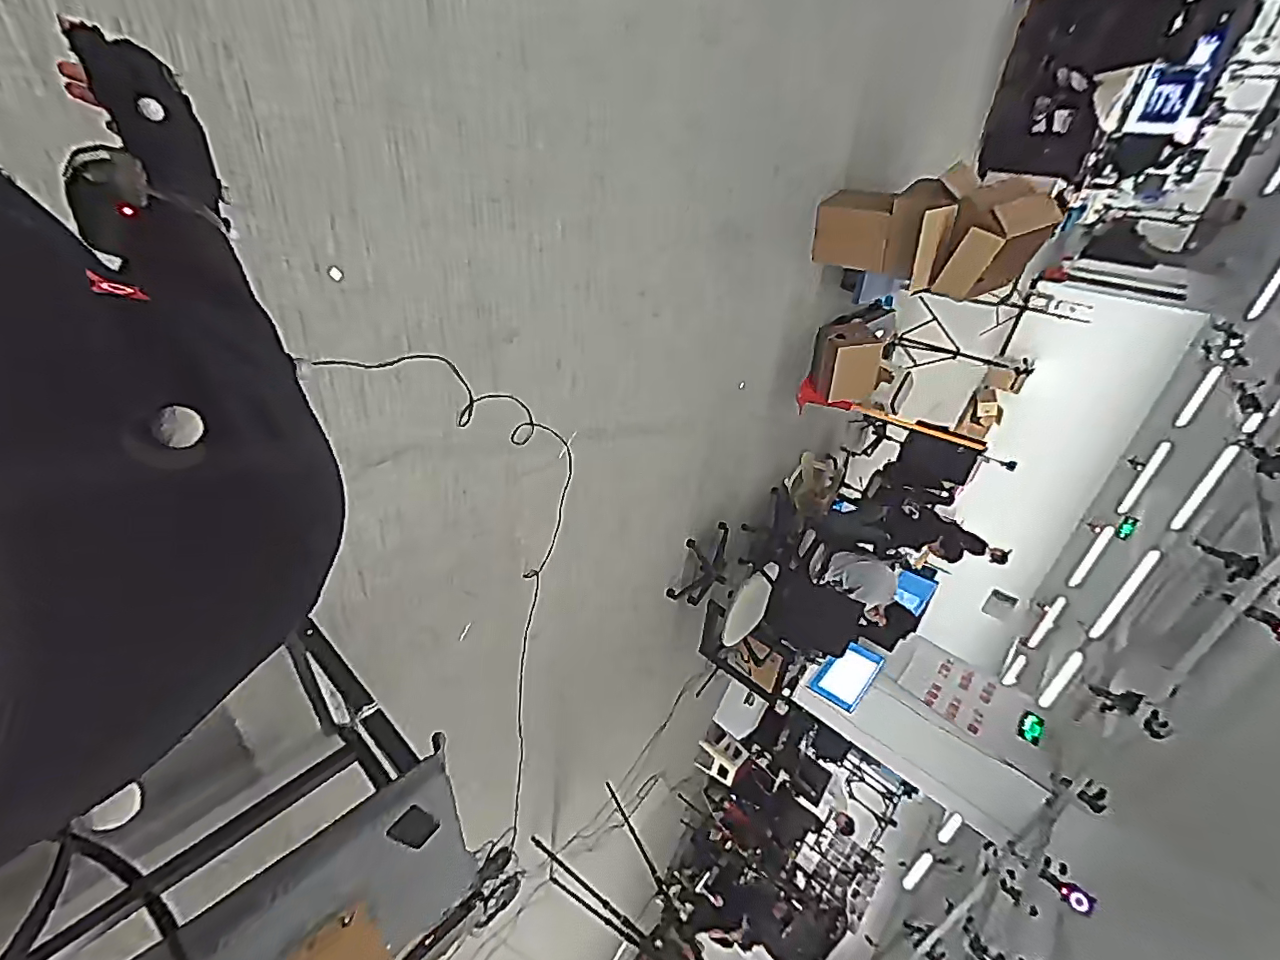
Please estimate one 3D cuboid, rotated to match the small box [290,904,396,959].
[{"bbox_3d":[-0.636,1.076,1.170,0.168,0.176,0.179,-30,137,-41],"label":"small box"}]
